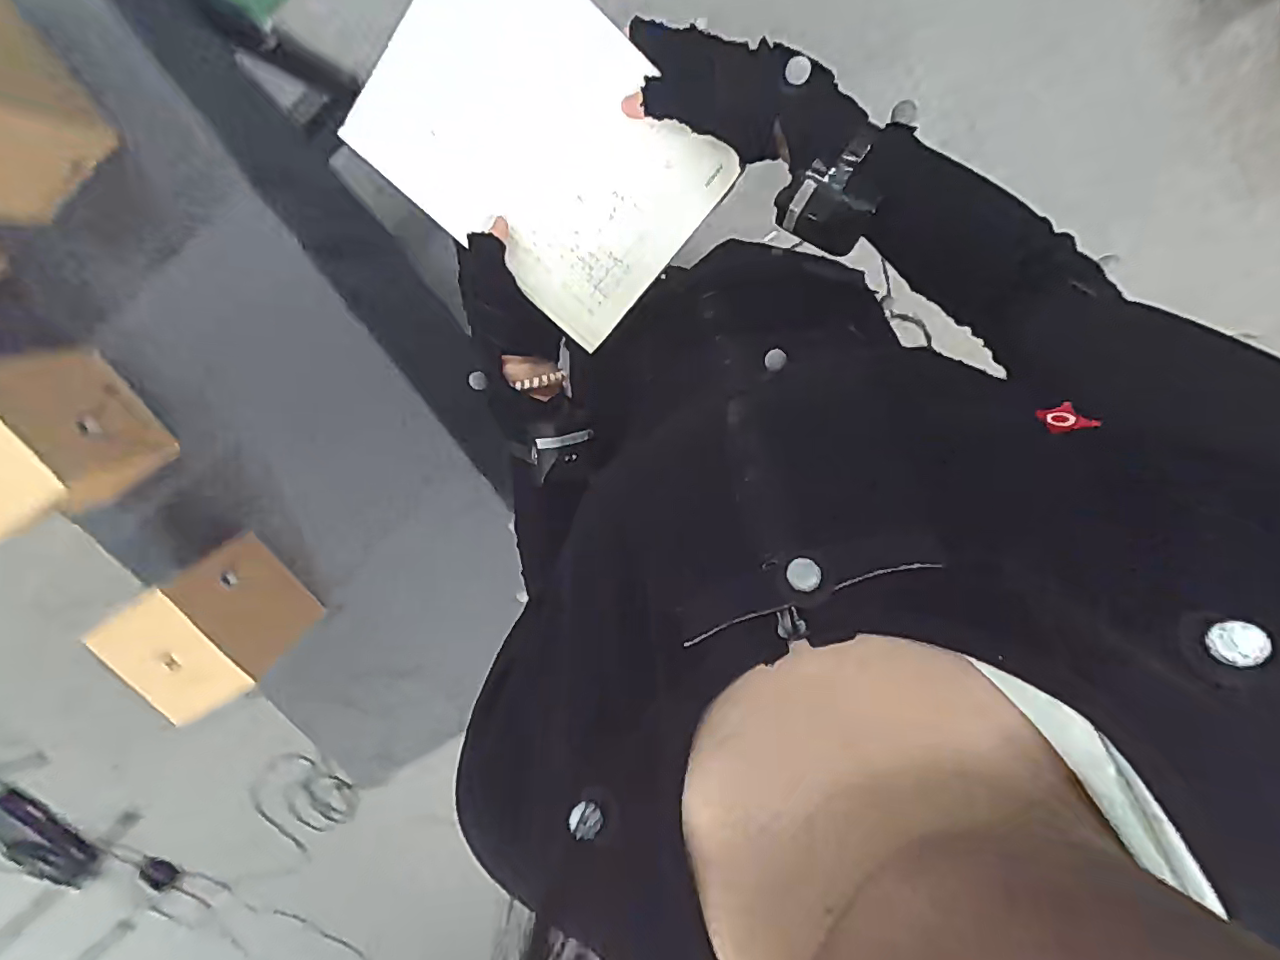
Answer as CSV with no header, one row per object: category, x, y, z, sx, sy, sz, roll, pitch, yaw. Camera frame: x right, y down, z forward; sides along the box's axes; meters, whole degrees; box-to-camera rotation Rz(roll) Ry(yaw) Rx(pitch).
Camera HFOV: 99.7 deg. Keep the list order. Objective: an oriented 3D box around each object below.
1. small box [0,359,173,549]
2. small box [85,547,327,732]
small box,-0.777,-0.041,0.709,0.179,0.176,0.168,-28,106,14
small box,-0.617,0.220,0.793,0.168,0.176,0.179,-29,105,14
